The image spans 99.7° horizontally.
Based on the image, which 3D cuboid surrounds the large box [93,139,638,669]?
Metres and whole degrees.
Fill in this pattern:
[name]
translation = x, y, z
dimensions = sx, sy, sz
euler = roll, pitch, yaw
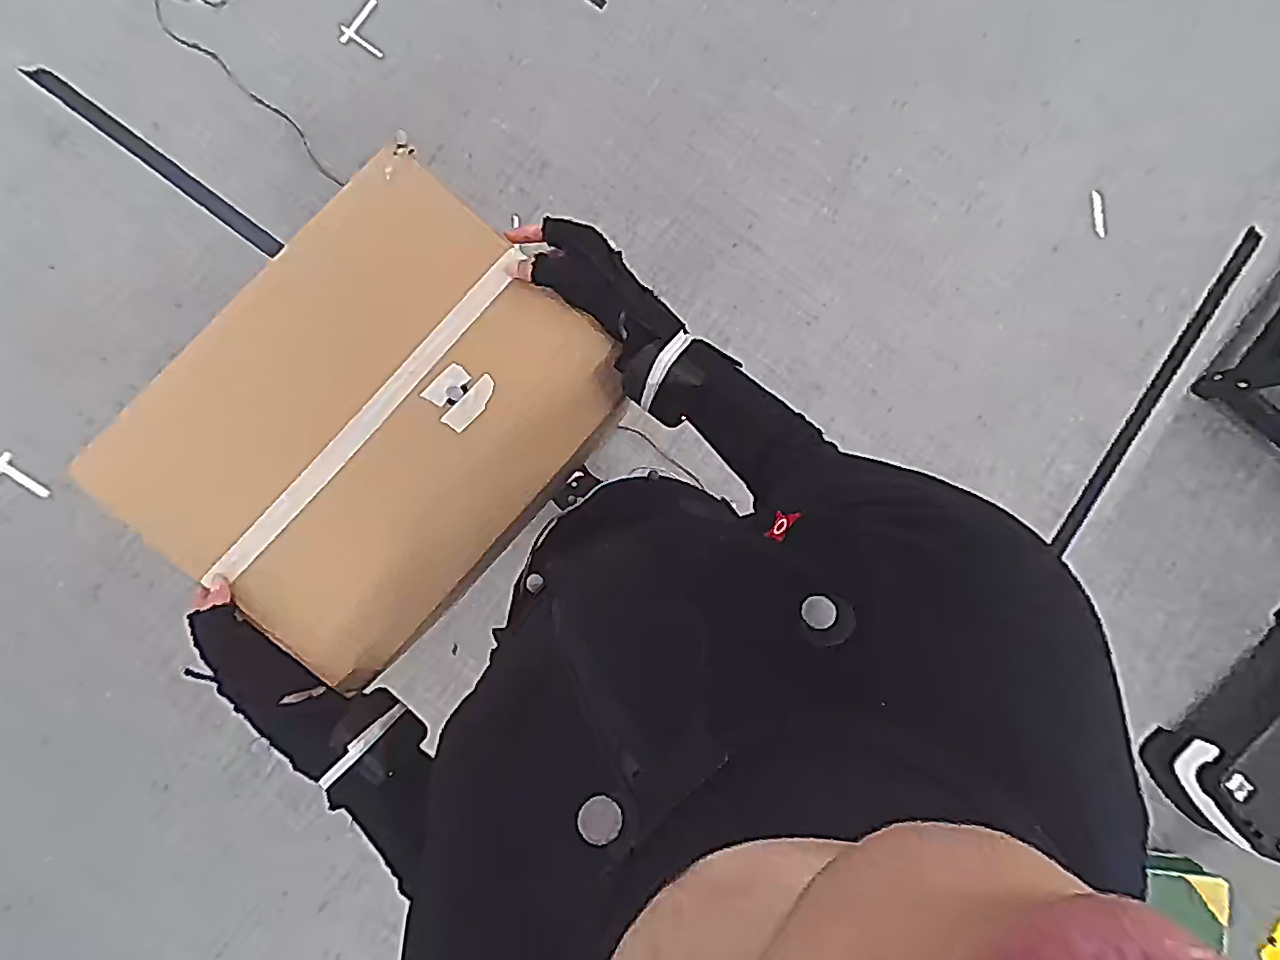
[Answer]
[large box]
translation = -0.257, -0.068, 0.645
dimensions = 0.320, 0.320, 0.408
euler = 42, 85, -5
